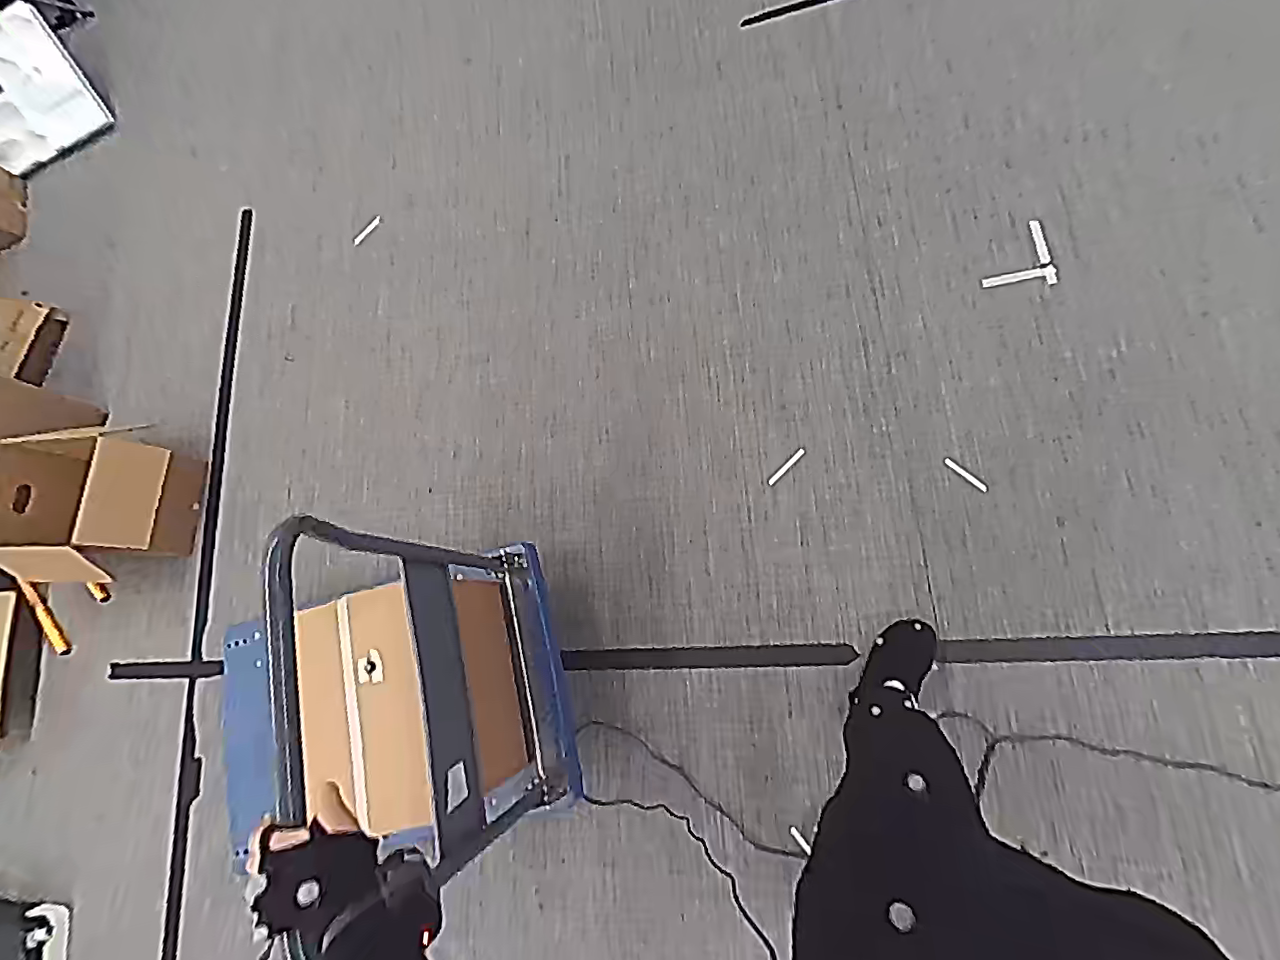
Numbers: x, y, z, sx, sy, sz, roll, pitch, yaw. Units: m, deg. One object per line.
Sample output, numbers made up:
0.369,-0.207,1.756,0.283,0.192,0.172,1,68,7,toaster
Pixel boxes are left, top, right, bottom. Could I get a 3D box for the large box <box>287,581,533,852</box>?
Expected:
-0.451,0.447,1.099,0.320,0.320,0.408,-17,73,9,large box
